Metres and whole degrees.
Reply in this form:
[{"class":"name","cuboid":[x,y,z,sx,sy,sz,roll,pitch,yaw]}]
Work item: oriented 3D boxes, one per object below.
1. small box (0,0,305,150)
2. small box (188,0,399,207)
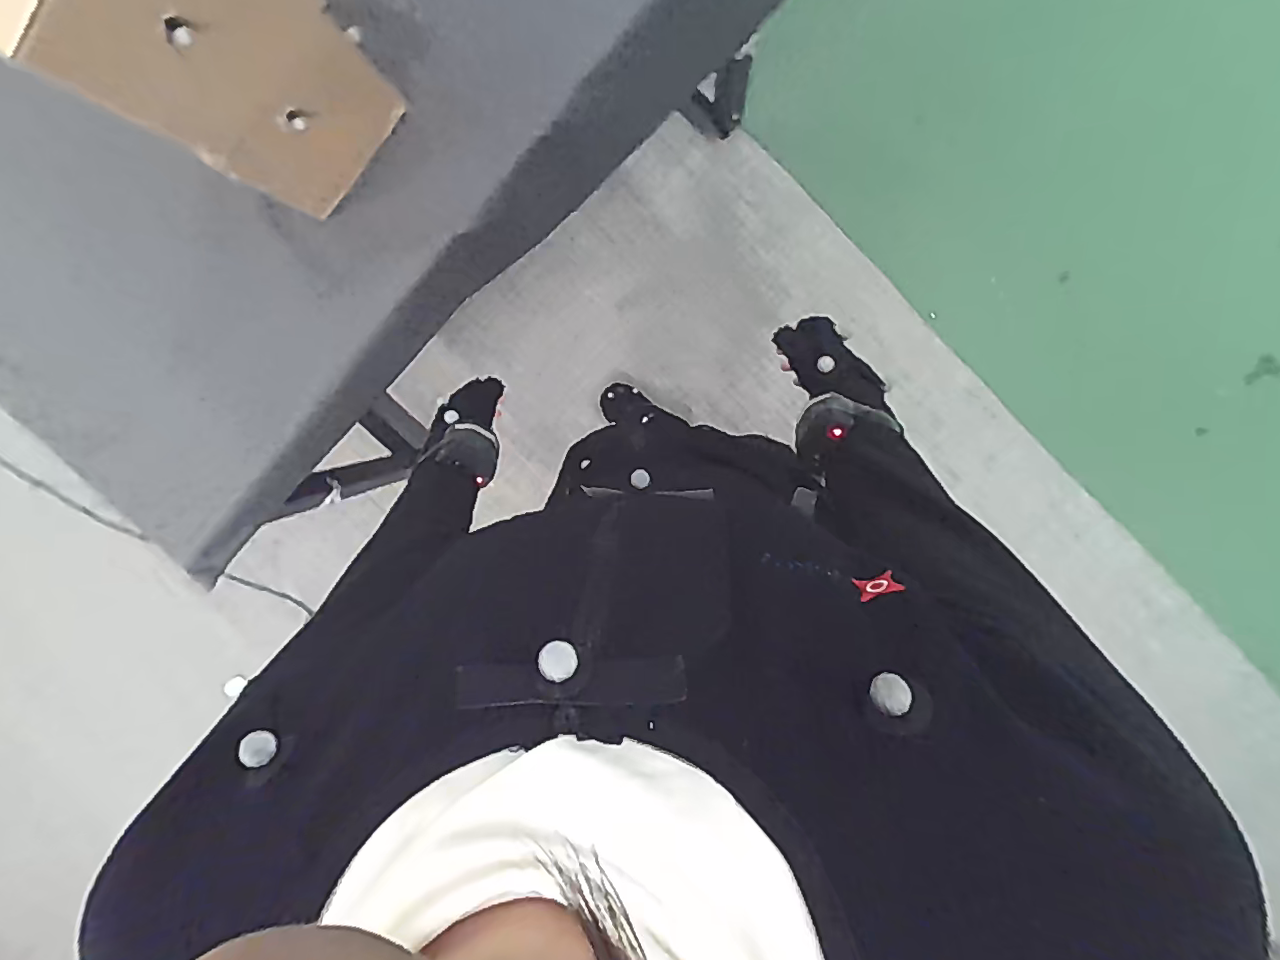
[{"class":"small box","cuboid":[-0.402,-0.406,0.410,0.168,0.176,0.179,39,100,-3]},{"class":"small box","cuboid":[-0.398,-0.431,0.572,0.168,0.176,0.179,43,99,-4]}]
